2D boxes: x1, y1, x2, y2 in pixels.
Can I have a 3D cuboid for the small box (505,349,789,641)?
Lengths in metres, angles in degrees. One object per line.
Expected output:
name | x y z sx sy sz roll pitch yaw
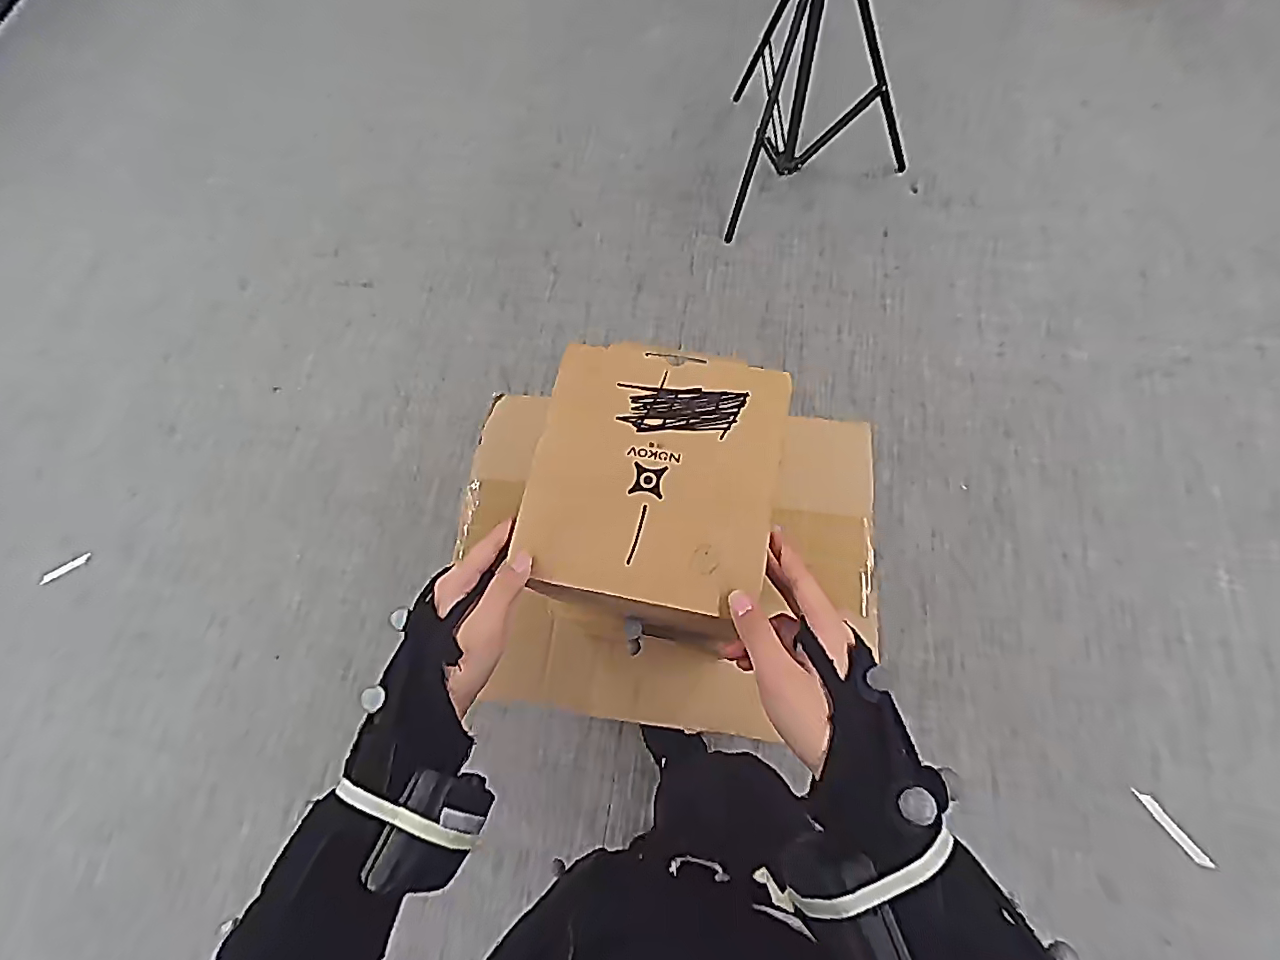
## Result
small box | 0.015 0.022 0.438 0.168 0.176 0.179 9 71 9

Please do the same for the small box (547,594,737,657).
small box | 0.020 0.092 0.588 0.179 0.176 0.168 9 71 9
